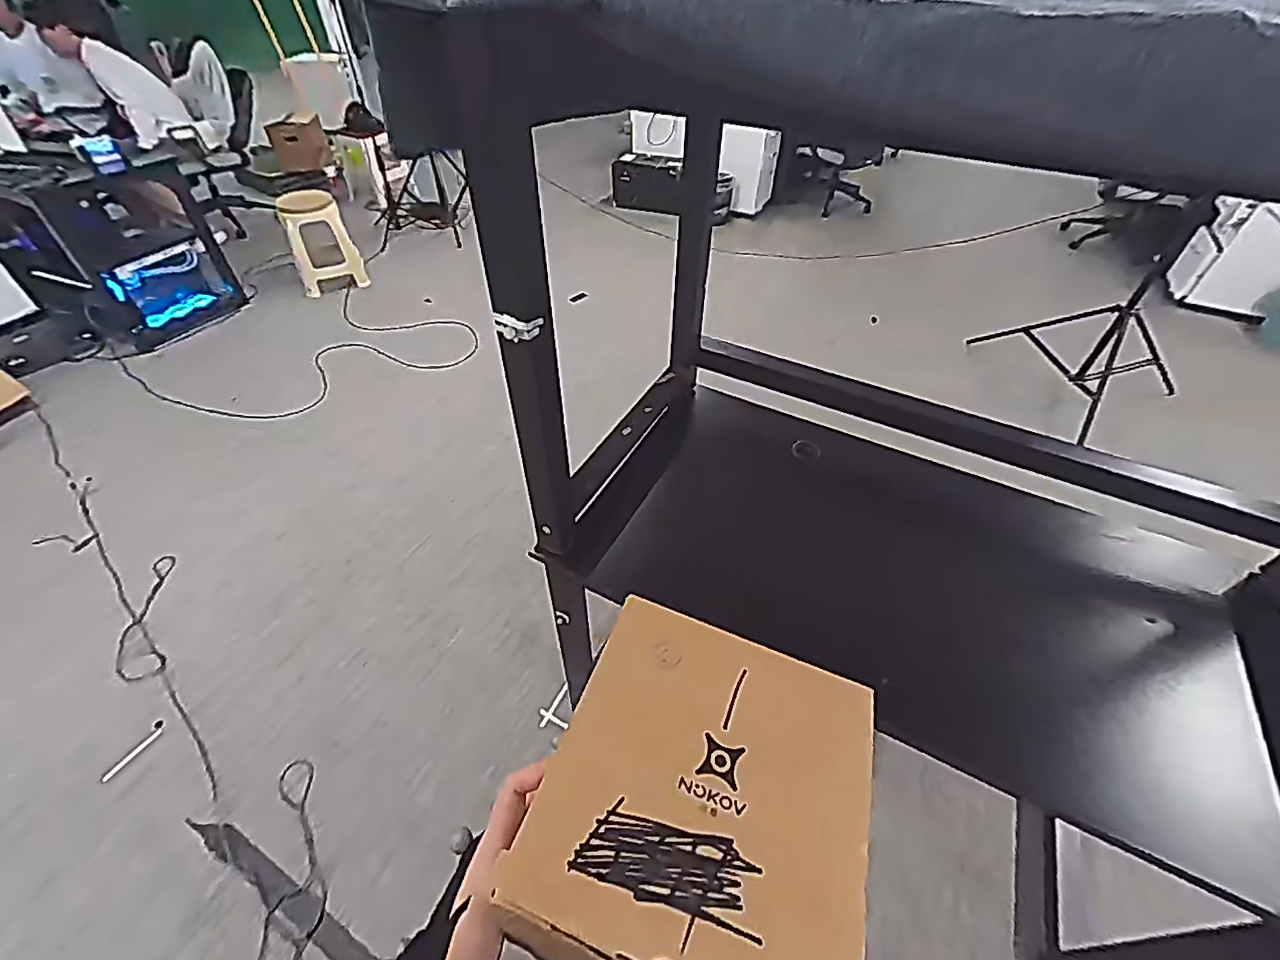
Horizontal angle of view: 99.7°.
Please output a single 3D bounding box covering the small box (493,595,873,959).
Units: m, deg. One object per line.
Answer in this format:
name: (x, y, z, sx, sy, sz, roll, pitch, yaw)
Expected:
small box: (0.028, 0.213, 0.342, 0.168, 0.176, 0.179, 20, 44, 9)
